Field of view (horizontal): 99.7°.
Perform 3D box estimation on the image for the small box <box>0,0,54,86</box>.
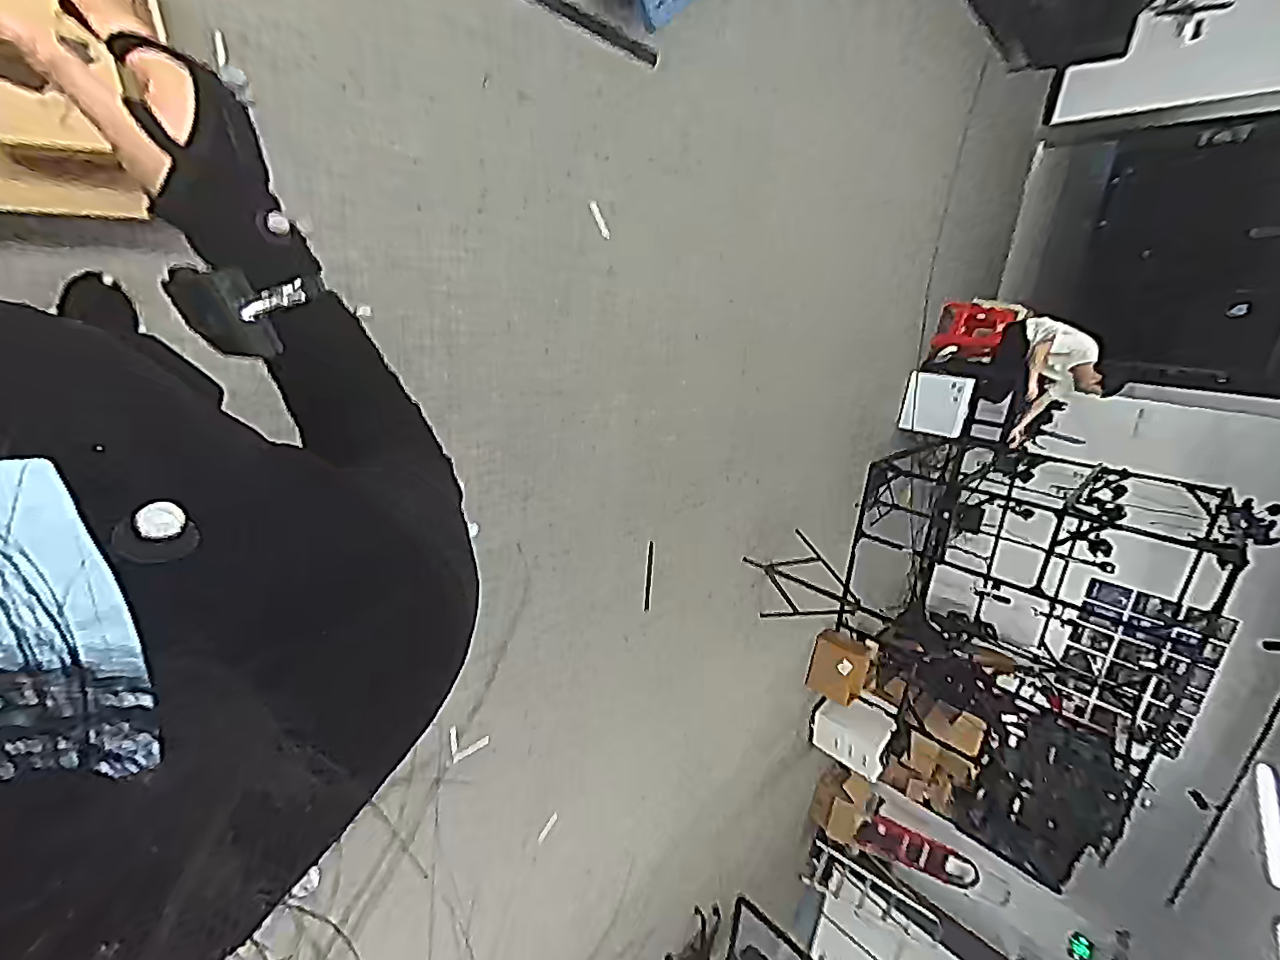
[{"bbox_3d":[-0.404,-0.329,0.262,0.168,0.176,0.179,0,110,-50],"label":"small box"}]
